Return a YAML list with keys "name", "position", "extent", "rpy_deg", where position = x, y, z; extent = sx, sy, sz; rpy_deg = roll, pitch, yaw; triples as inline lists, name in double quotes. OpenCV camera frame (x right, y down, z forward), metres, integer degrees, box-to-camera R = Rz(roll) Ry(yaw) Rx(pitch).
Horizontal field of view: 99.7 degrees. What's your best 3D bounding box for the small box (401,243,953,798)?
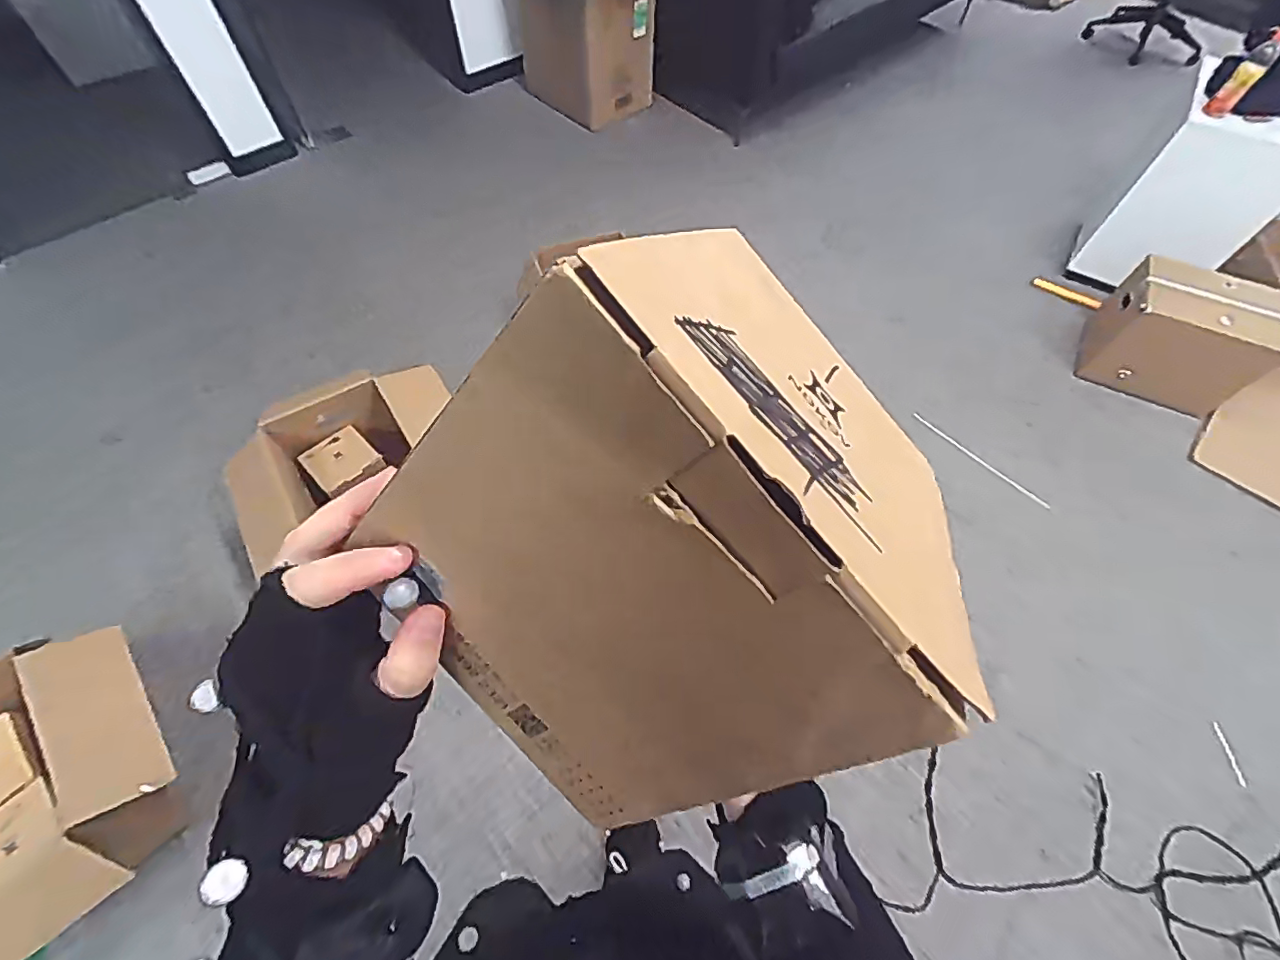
- name: "small box"
  position: [0.015, 0.016, 0.262]
  extent: [0.168, 0.176, 0.179]
  rpy_deg: [49, 35, -4]
